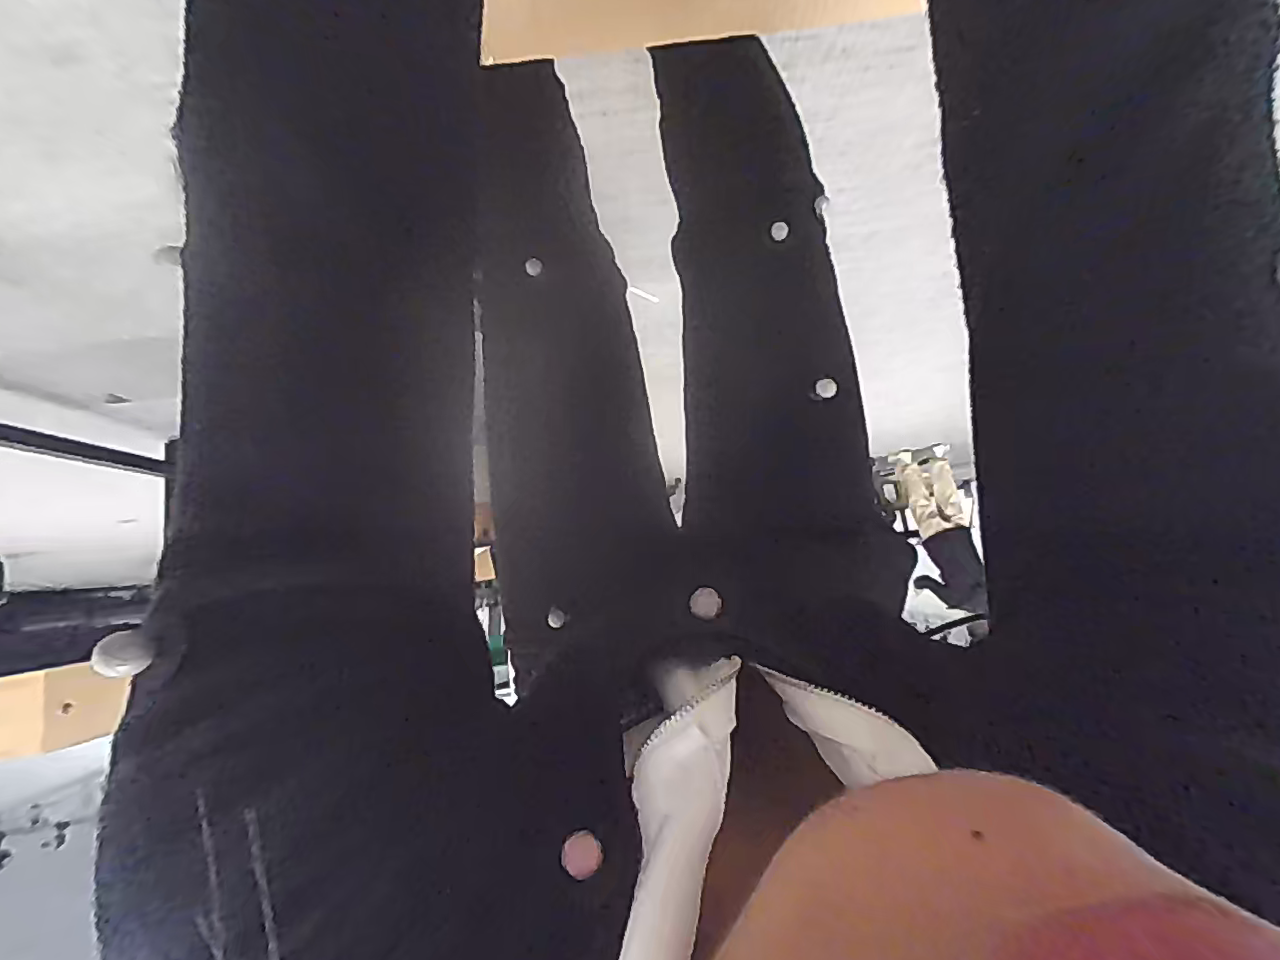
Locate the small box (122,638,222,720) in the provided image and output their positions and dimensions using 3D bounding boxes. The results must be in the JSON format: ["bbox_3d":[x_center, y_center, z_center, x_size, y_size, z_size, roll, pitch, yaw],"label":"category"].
[{"bbox_3d":[-1.244,0.518,1.416,0.168,0.176,0.179,-7,171,-2],"label":"small box"}]

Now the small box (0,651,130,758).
[{"bbox_3d":[-1.242,0.471,1.146,0.168,0.176,0.179,-7,172,-1],"label":"small box"}]
